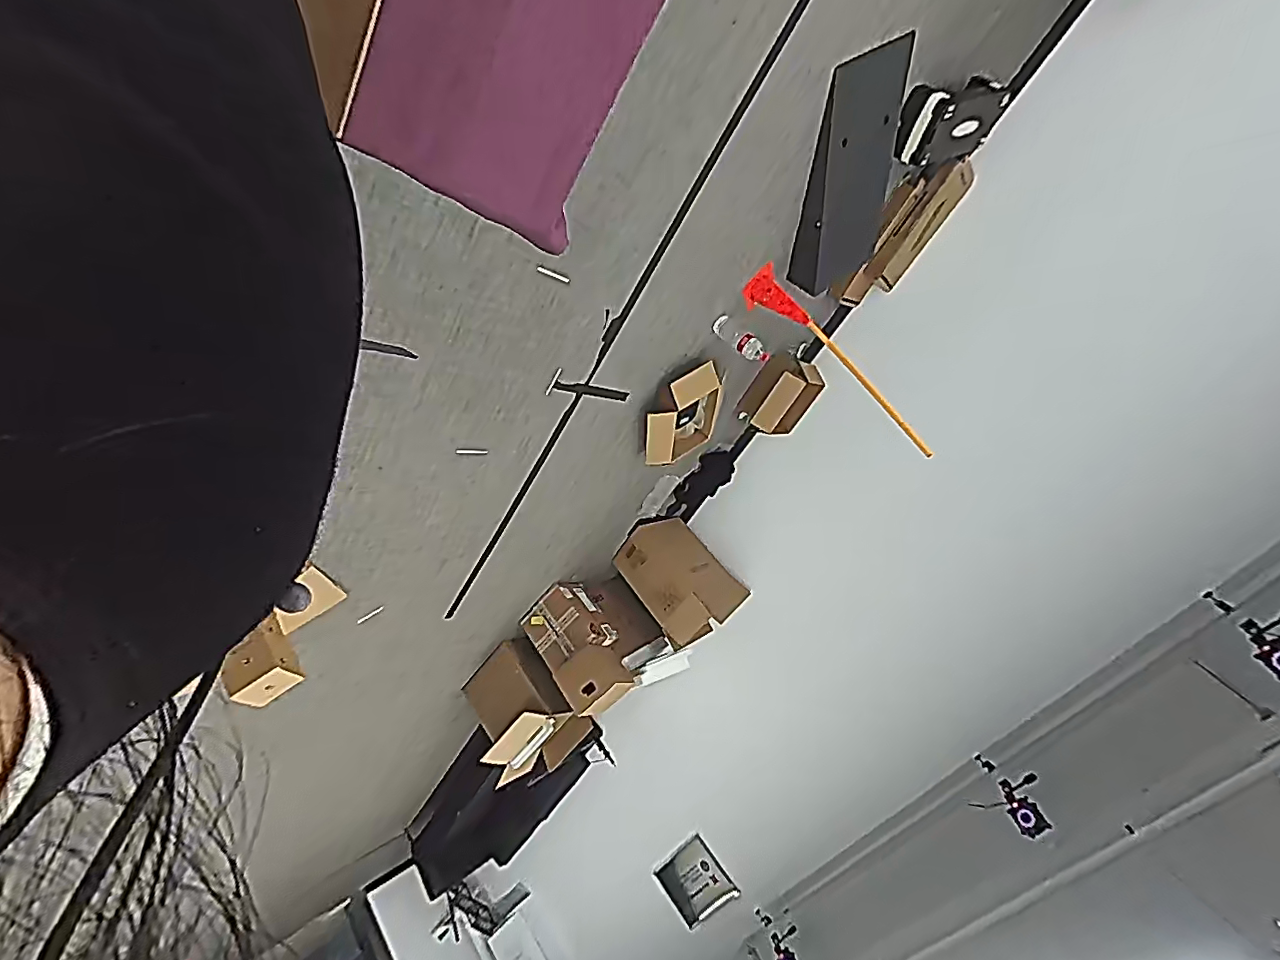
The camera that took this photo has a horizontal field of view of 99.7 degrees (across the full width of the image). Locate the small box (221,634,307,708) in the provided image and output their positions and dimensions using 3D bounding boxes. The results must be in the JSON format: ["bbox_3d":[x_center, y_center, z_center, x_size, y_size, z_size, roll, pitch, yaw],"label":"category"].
[{"bbox_3d":[-1.327,0.670,1.906,0.168,0.176,0.179,-34,153,-17],"label":"small box"}]

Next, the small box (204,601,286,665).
[{"bbox_3d":[-1.438,0.569,1.976,0.168,0.176,0.179,-35,152,-16],"label":"small box"}]
